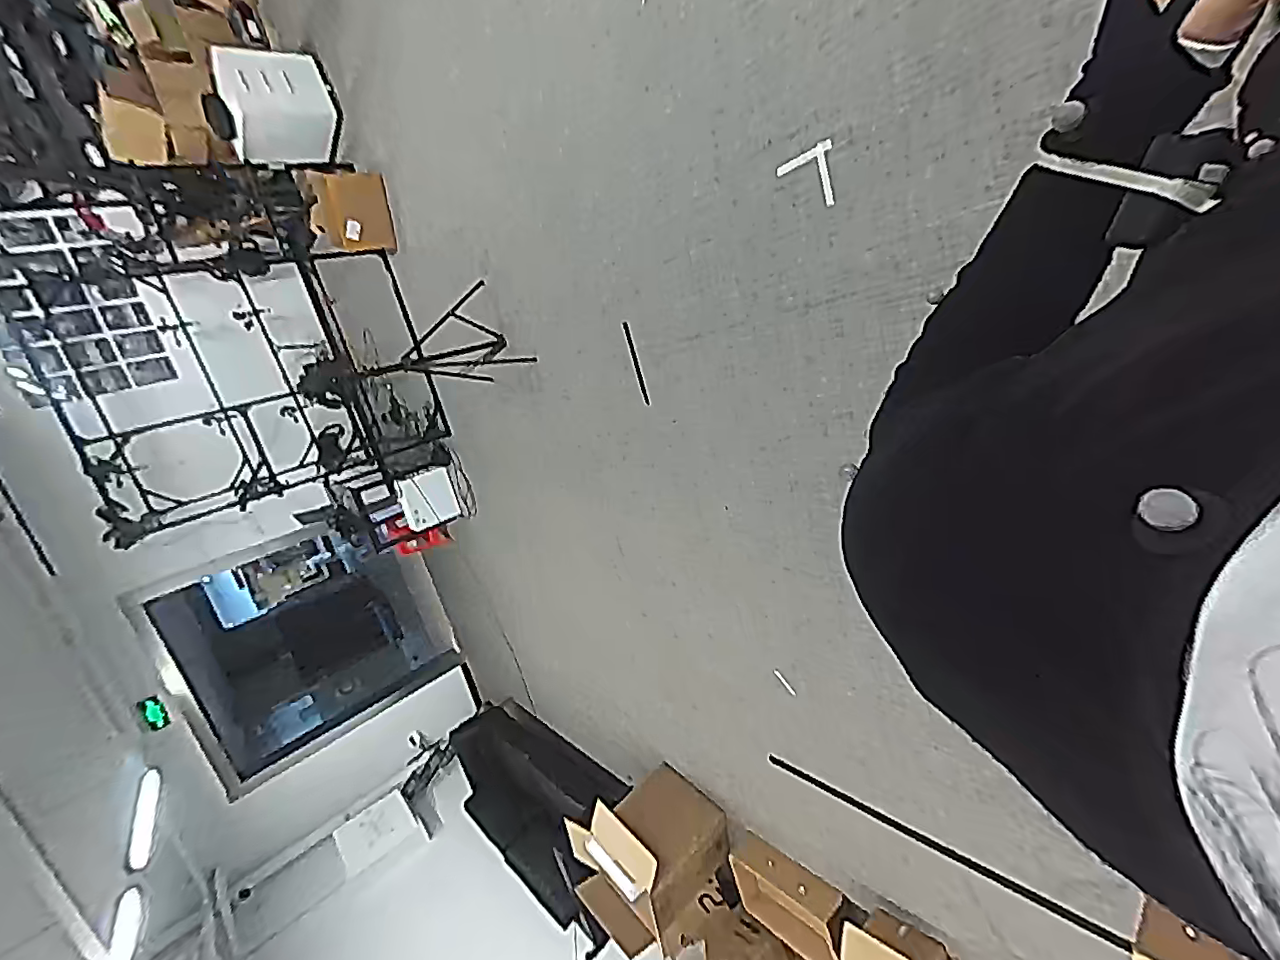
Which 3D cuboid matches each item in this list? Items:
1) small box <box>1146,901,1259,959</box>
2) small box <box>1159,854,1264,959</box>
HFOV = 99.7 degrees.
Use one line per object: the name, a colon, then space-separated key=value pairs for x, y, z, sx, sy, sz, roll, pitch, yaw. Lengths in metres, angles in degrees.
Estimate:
small box: x=1.293 y=1.142 z=1.244 sx=0.168 sy=0.176 sz=0.179 roll=4 pitch=114 yaw=51
small box: x=1.416 y=1.091 z=1.343 sx=0.168 sy=0.176 sz=0.179 roll=2 pitch=112 yaw=52
